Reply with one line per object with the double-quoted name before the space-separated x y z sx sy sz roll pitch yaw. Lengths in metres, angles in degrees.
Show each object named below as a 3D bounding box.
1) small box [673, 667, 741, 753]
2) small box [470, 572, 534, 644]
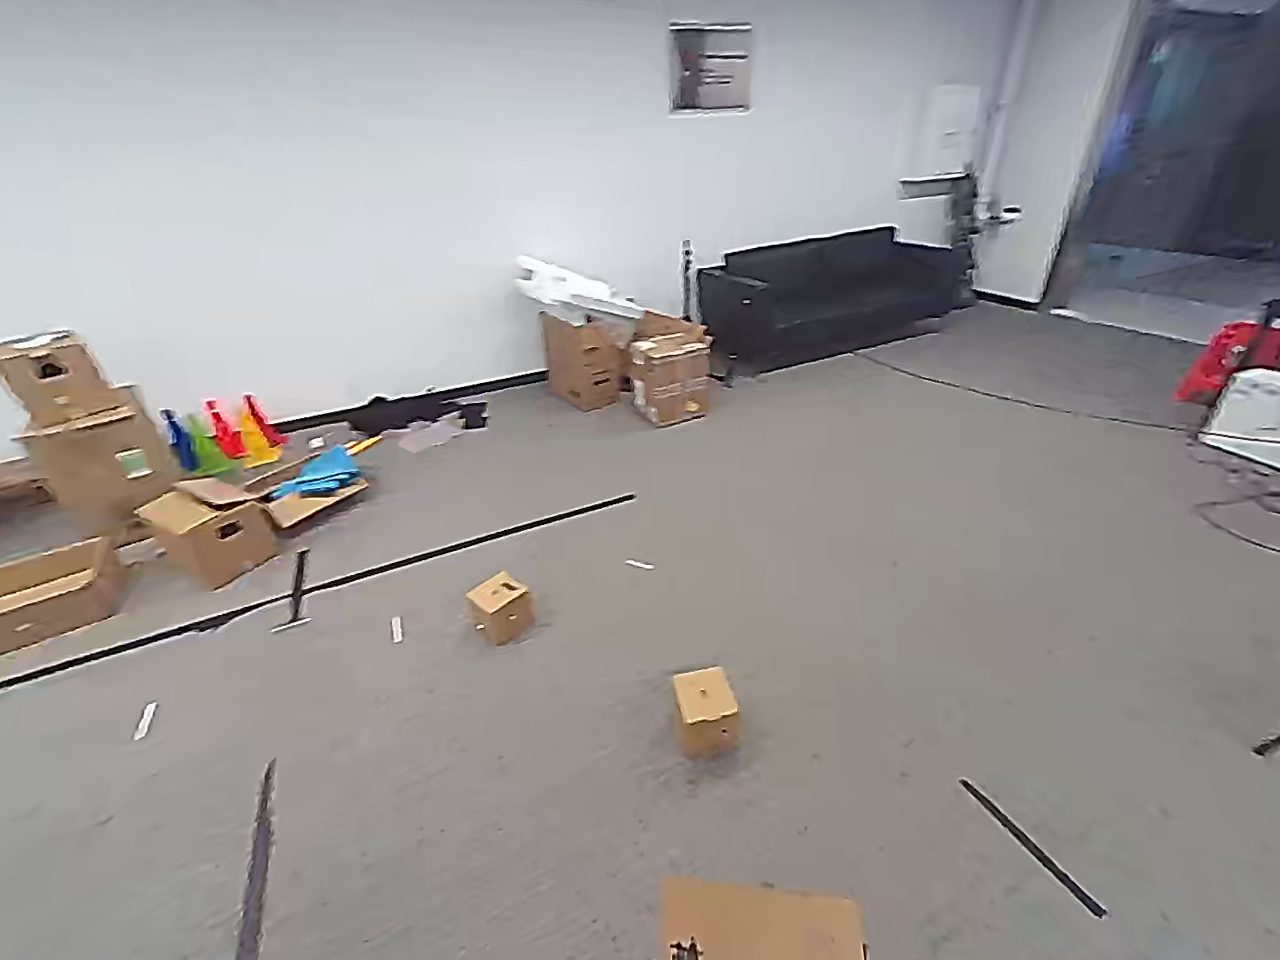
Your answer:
"small box" 0.204 0.716 1.672 0.168 0.176 0.179 -7 30 -10
"small box" -0.527 0.495 2.094 0.168 0.176 0.179 23 41 37
